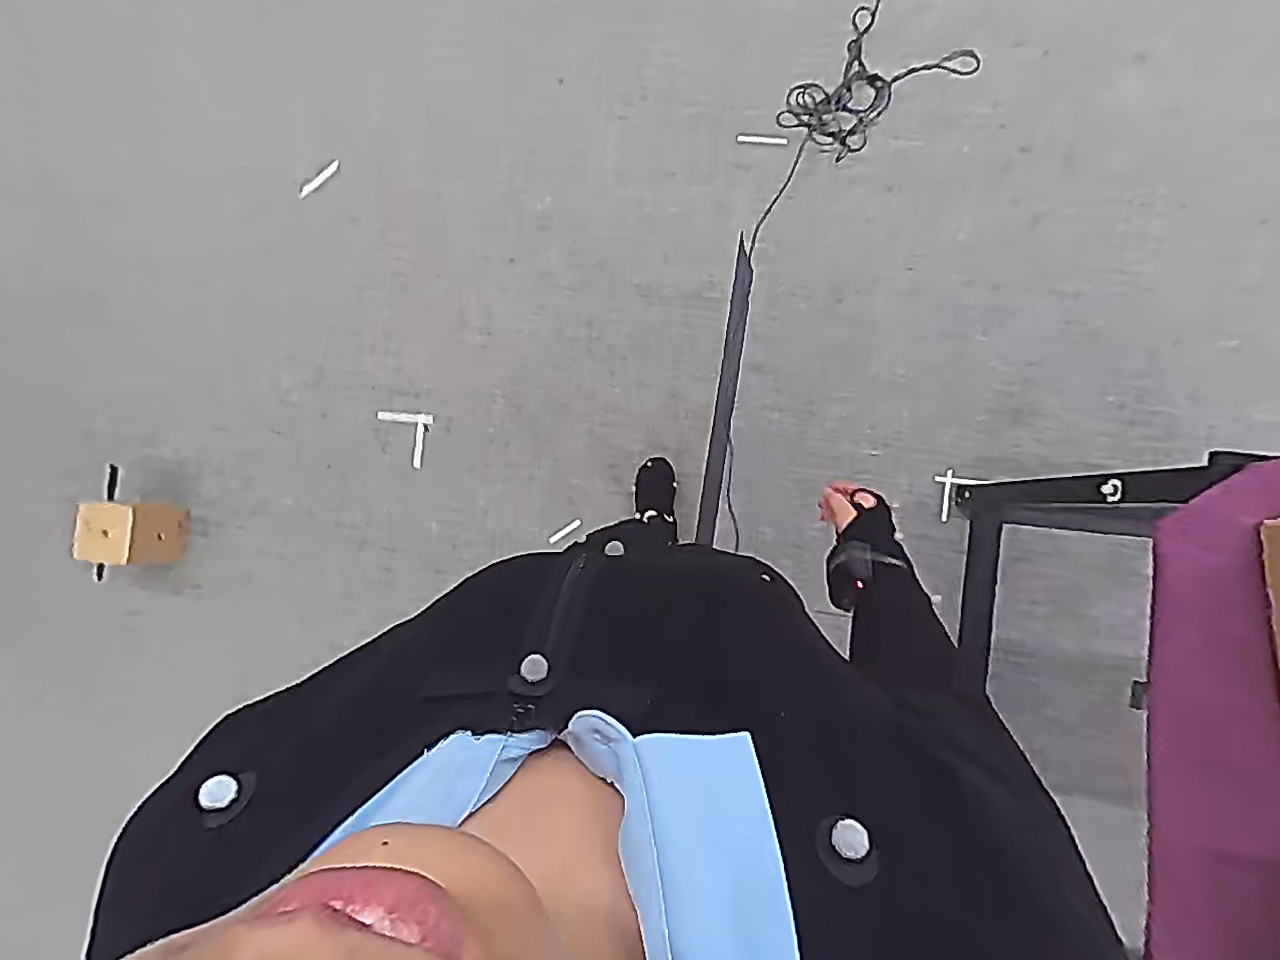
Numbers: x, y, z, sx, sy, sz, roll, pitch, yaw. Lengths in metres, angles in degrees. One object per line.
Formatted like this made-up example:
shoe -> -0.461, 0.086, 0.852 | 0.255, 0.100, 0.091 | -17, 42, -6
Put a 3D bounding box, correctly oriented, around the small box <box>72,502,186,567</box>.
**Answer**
small box -> -1.479, 0.154, 1.575 | 0.179, 0.176, 0.168 | 5, 88, 7
